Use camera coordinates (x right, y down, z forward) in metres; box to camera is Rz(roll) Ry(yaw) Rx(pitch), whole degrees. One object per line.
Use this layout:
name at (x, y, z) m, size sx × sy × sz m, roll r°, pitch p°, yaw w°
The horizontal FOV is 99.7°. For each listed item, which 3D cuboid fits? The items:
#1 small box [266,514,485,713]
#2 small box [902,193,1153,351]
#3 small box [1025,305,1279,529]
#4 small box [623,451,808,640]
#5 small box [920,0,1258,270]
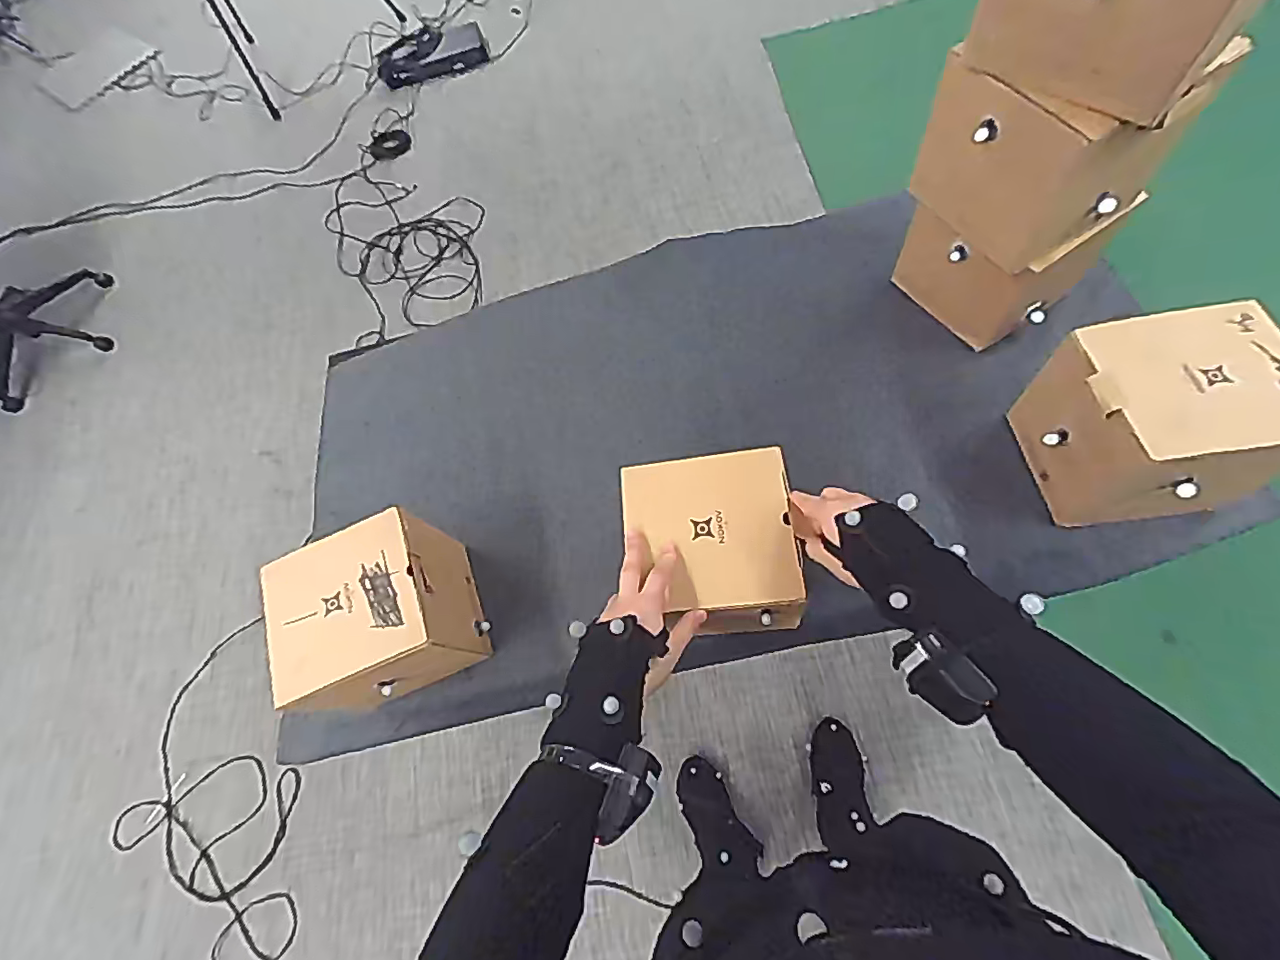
small box at (-0.307, 0.166, 0.659) m, size 0.179 × 0.176 × 0.168 m, roll -24°, pitch 66°, yaw 1°
small box at (0.482, -0.306, 0.712) m, size 0.168 × 0.176 × 0.179 m, roll -35°, pitch 68°, yaw -2°
small box at (0.559, -0.057, 0.588) m, size 0.179 × 0.176 × 0.168 m, roll -8°, pitch 62°, yaw 8°
small box at (0.086, 0.086, 0.623) m, size 0.179 × 0.176 × 0.168 m, roll -8°, pitch 66°, yaw 8°
small box at (0.431, -0.361, 0.564) m, size 0.168 × 0.176 × 0.179 m, roll -31°, pitch 66°, yaw 1°
